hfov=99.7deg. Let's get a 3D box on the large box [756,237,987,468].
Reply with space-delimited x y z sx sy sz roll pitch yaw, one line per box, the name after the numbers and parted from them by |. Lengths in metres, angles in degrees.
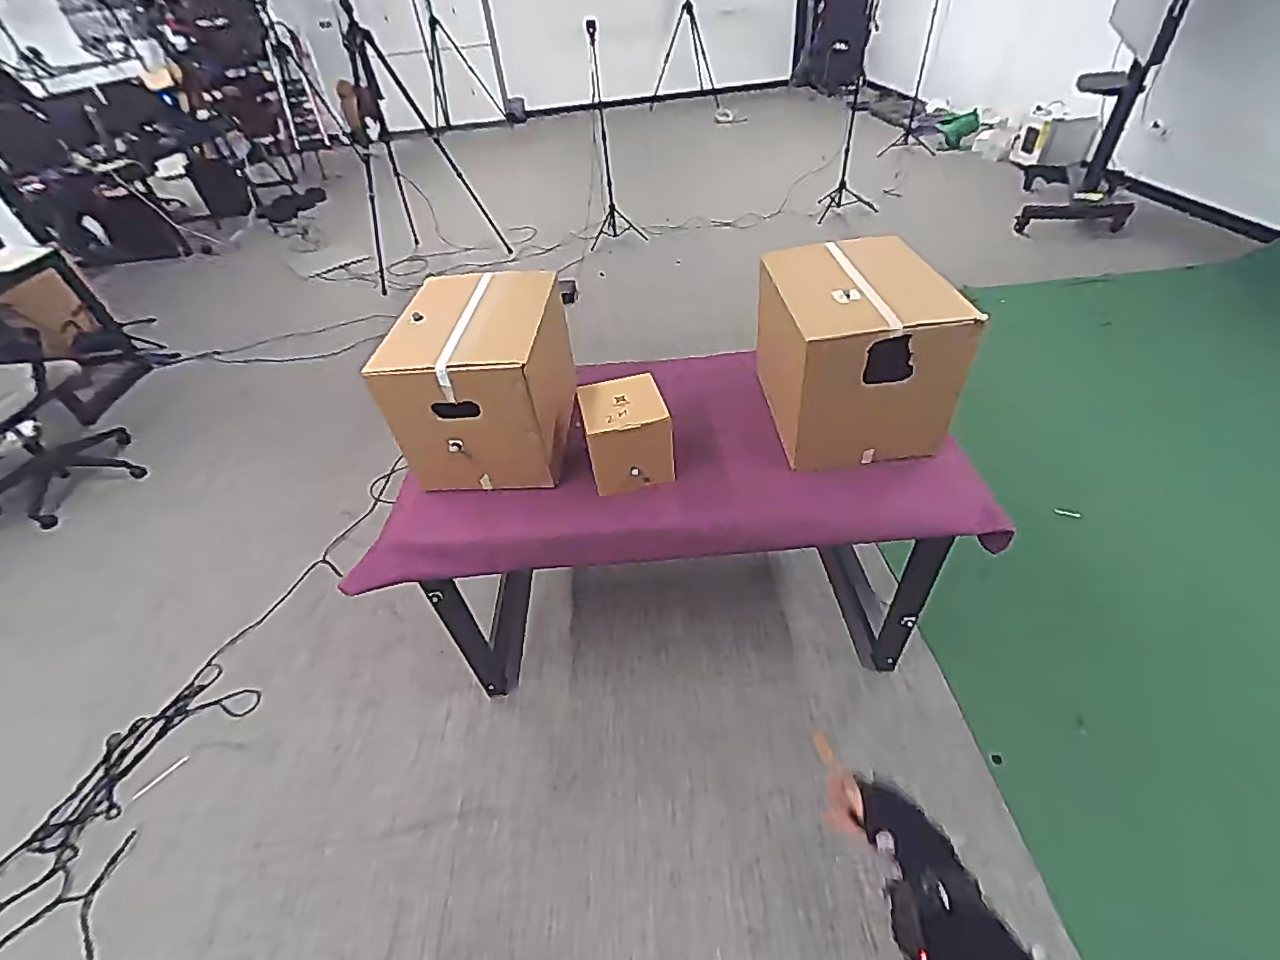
0.450 -0.284 1.176 0.320 0.320 0.408 -7 44 3 | large box
